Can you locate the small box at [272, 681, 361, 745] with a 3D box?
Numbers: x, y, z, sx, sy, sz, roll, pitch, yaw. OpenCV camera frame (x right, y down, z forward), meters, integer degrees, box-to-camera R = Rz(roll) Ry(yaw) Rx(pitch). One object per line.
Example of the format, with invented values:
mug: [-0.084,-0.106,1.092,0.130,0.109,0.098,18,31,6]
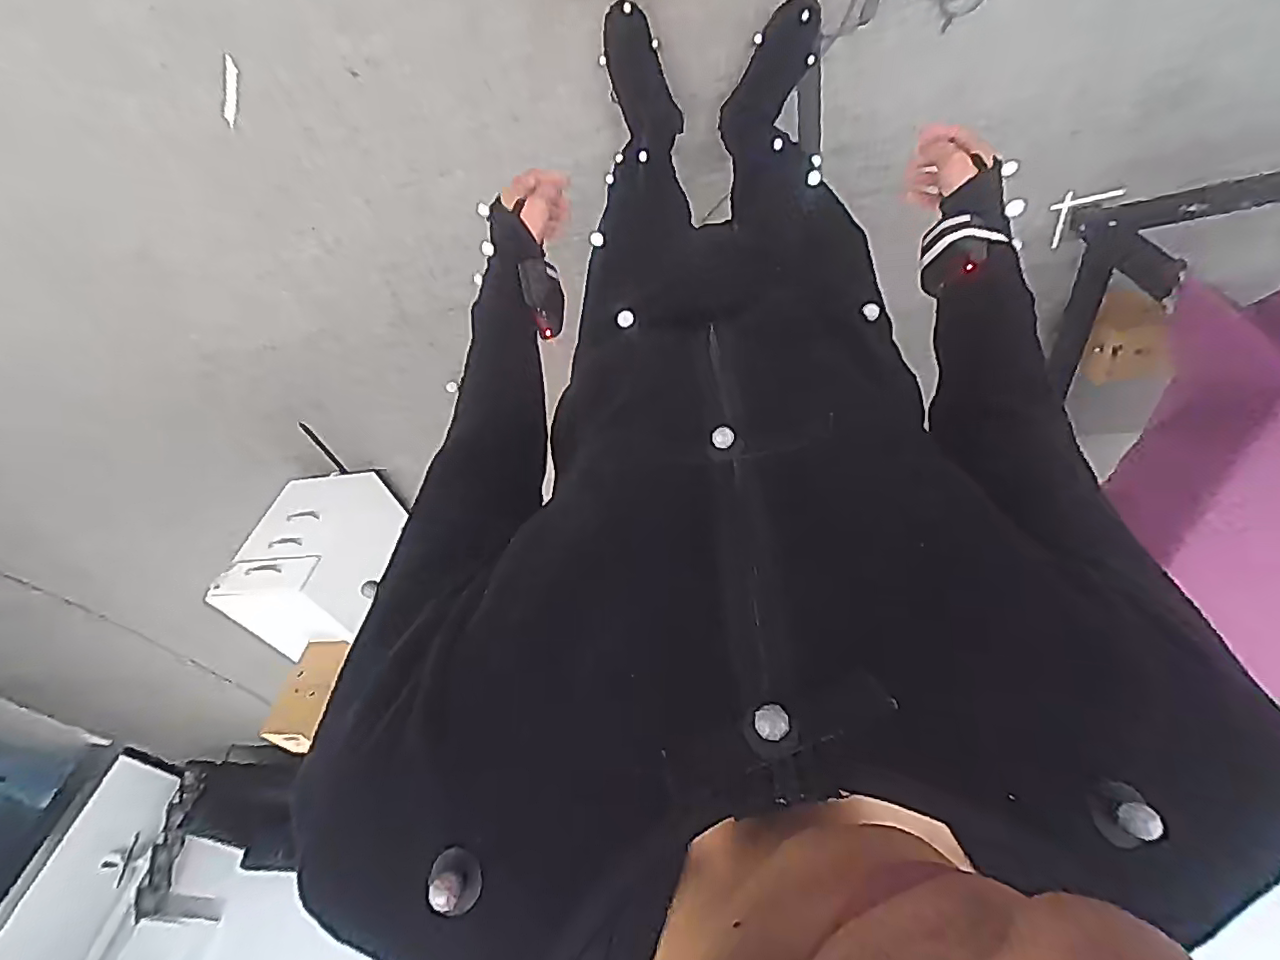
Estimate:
small box: [-1.134,0.821,1.908,0.168,0.176,0.179,-5,136,14]

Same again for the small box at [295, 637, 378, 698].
small box: [-1.125,0.701,2.021,0.179,0.176,0.168,-6,136,14]
